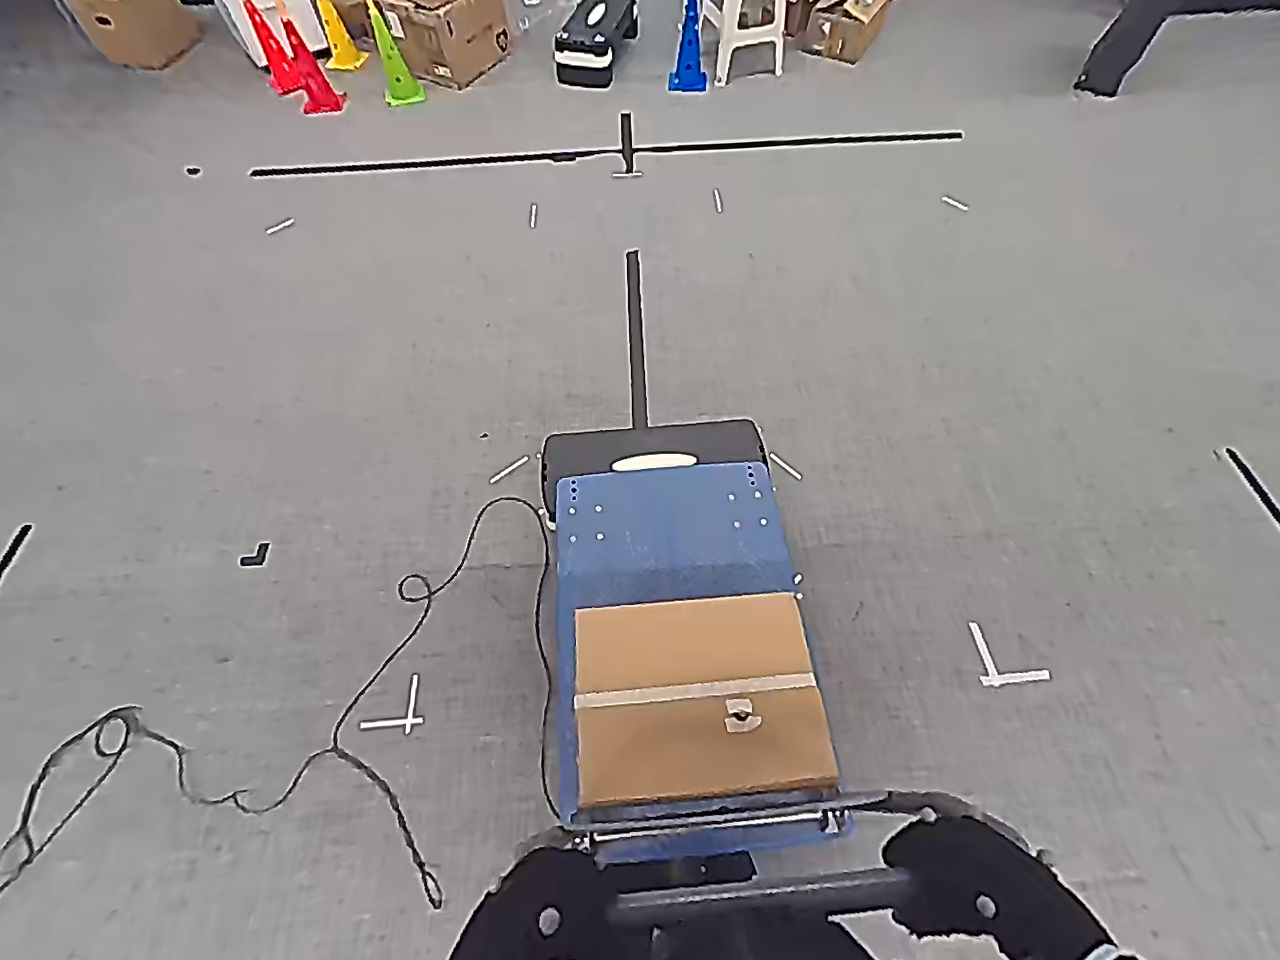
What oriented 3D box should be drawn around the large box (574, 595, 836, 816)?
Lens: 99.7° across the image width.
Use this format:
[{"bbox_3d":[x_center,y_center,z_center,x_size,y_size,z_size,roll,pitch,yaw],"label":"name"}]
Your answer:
[{"bbox_3d":[0.093,0.435,1.030,0.408,0.320,0.320,-5,60,-2],"label":"large box"}]
